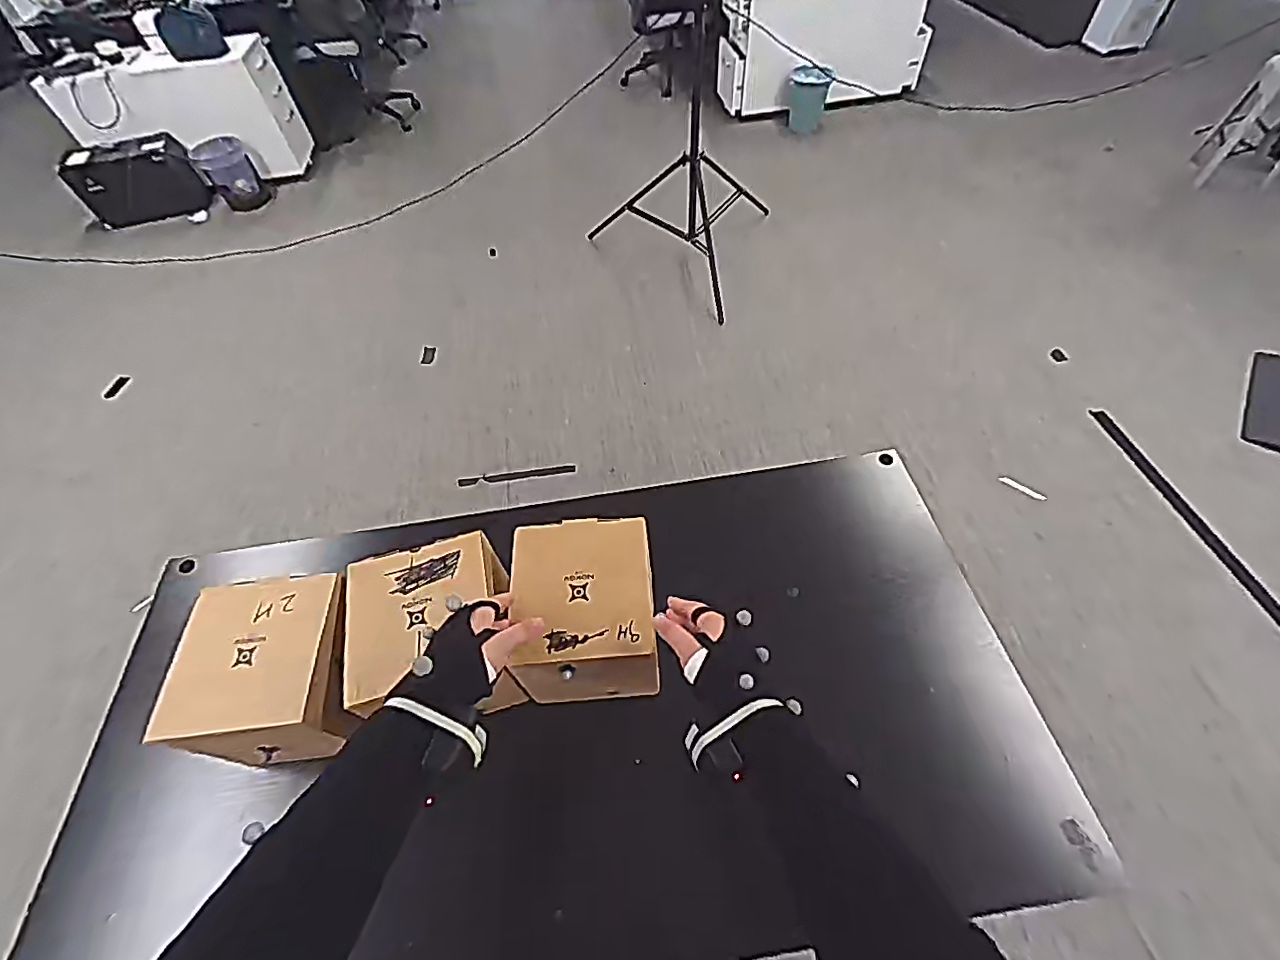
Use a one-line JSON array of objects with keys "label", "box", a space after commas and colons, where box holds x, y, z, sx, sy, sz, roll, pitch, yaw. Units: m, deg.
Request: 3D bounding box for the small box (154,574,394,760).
[{"label": "small box", "box": [-0.431, 0.240, 0.676, 0.168, 0.176, 0.179, -7, 54, -1]}]
